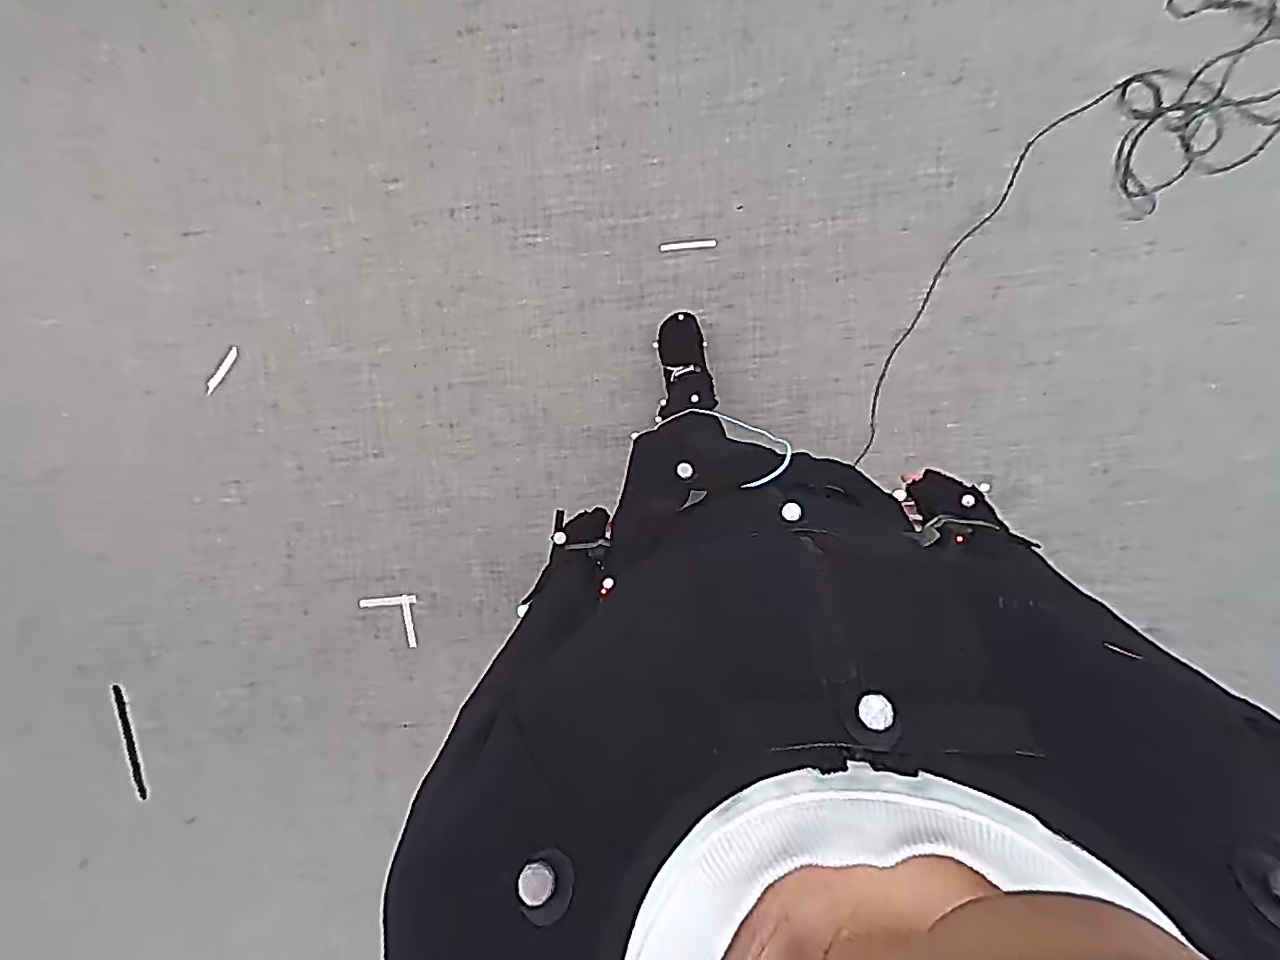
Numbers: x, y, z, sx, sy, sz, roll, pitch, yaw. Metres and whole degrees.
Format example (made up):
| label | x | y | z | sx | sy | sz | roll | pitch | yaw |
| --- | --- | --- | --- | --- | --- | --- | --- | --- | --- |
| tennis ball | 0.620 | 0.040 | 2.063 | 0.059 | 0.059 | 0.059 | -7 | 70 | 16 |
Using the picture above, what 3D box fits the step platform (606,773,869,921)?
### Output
| label | x | y | z | sx | sy | sz | roll | pitch | yaw |
| --- | --- | --- | --- | --- | --- | --- | --- | --- | --- |
| step platform | 0.251 | 0.991 | 1.463 | 0.684 | 0.204 | 0.286 | -5 | 97 | 7 |
